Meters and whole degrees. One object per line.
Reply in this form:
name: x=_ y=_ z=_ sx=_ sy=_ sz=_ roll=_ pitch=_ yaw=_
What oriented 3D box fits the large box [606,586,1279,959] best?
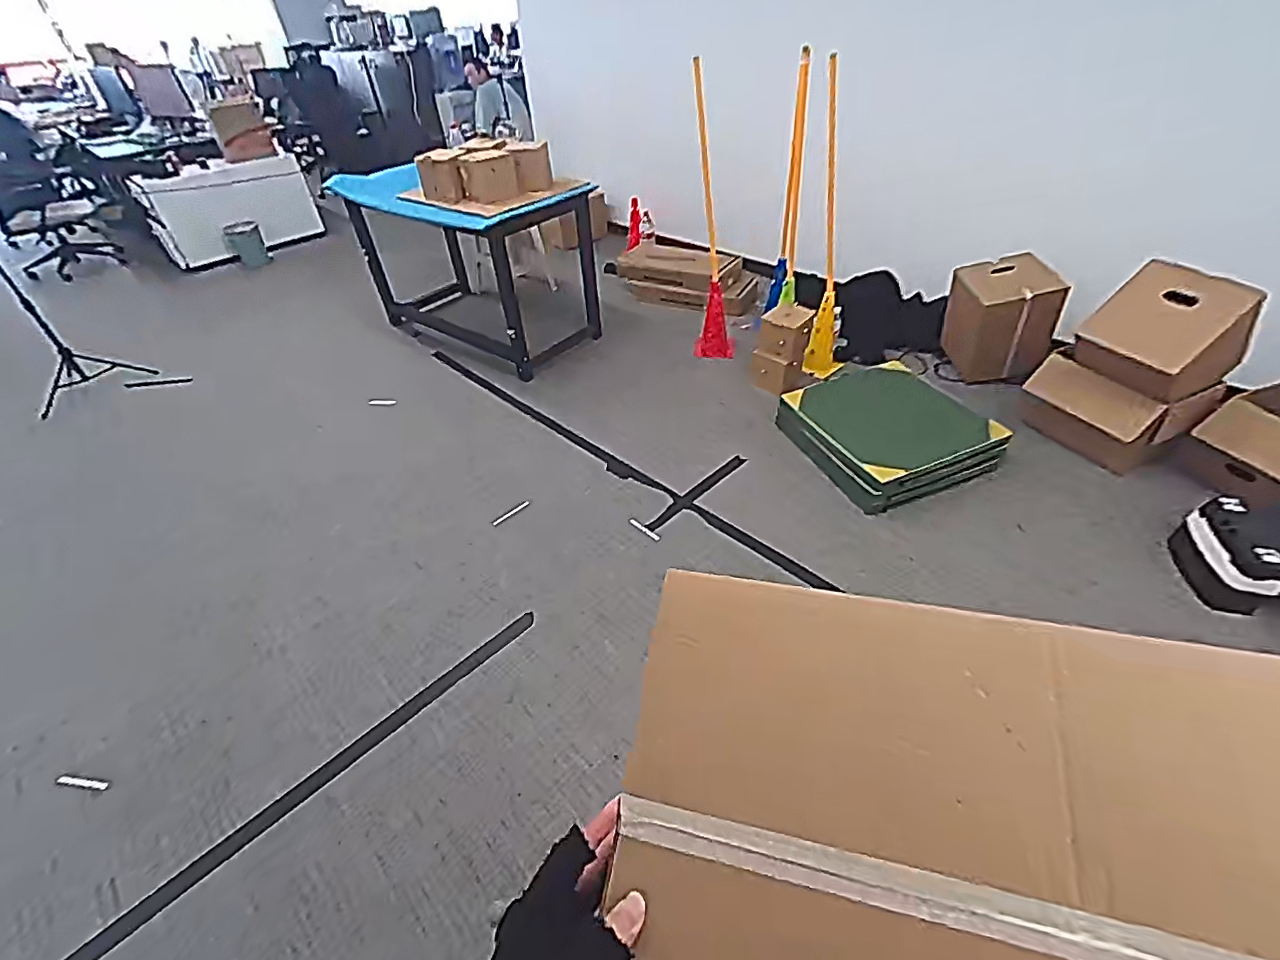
large box: x=0.212 y=0.298 z=0.411 sx=0.408 sy=0.320 sz=0.320 roll=6 pitch=64 yaw=16
